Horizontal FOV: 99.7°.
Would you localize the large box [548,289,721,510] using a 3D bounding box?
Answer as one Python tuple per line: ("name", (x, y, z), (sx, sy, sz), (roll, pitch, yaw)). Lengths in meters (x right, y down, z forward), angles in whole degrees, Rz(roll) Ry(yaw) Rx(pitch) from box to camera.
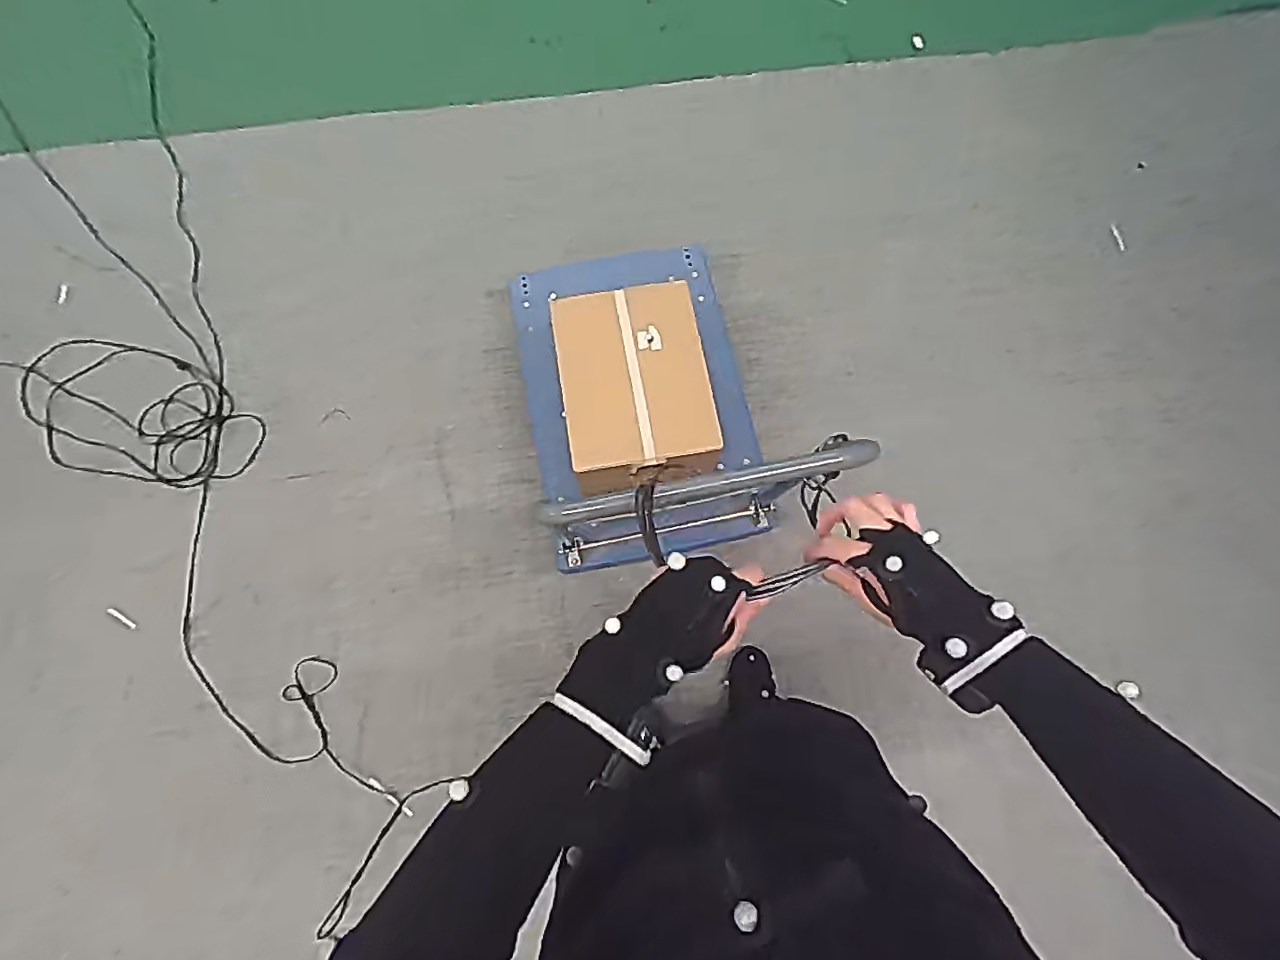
("large box", (-0.016, -0.175, 1.294), (0.320, 0.320, 0.408), (-9, 74, -3))
